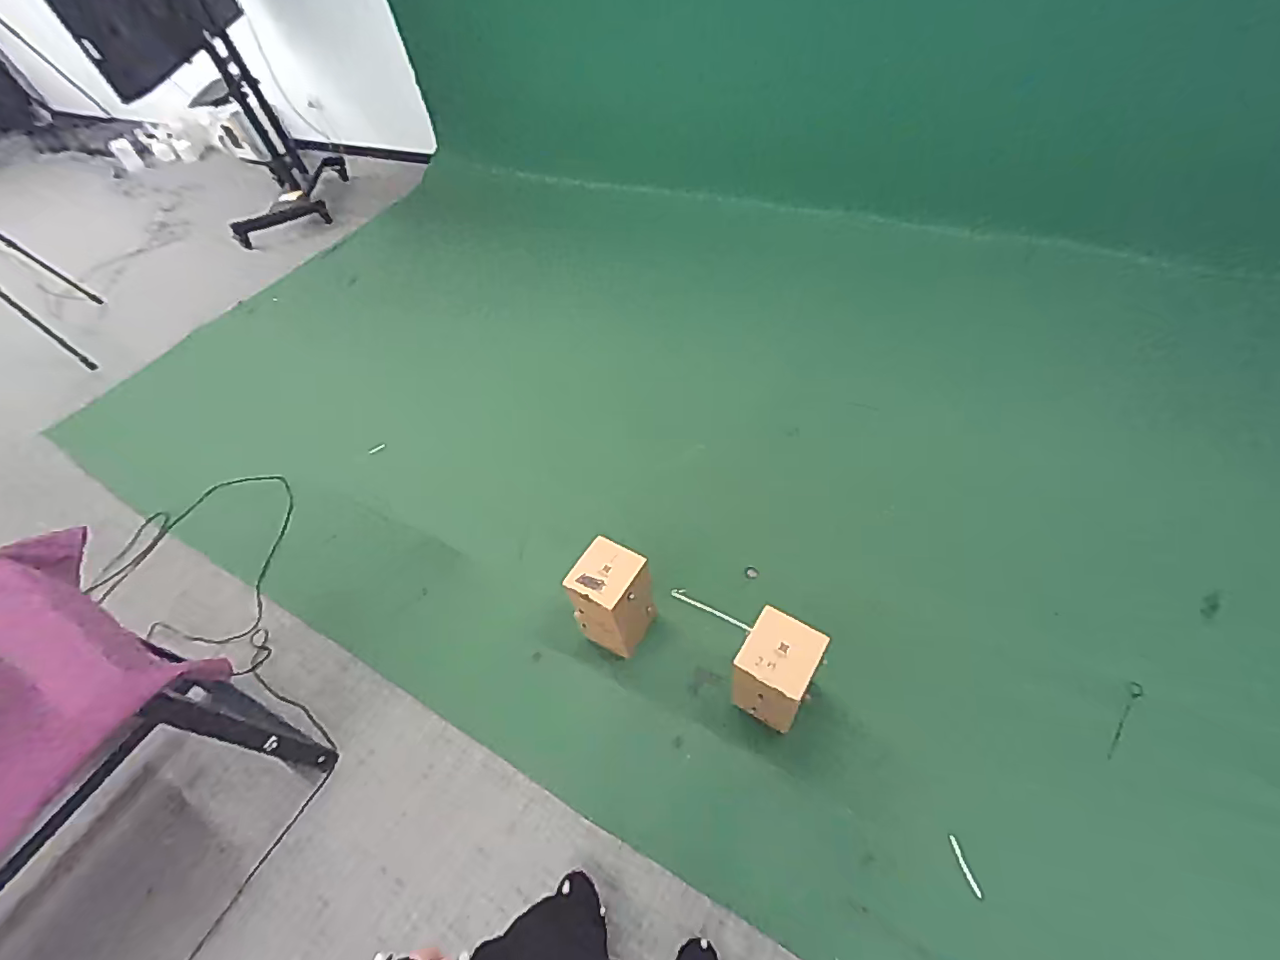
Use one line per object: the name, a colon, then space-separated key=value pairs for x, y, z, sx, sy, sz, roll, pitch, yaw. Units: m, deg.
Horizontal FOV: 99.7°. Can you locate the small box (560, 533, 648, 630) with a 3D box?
small box: x=-0.091 y=0.287 z=1.503 sx=0.168 sy=0.176 sz=0.179 roll=24 pitch=58 yaw=25

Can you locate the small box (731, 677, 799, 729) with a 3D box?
small box: x=0.352 y=0.535 z=1.455 sx=0.168 sy=0.176 sz=0.179 roll=25 pitch=61 yaw=24

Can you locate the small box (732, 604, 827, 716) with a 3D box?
small box: x=0.333 y=0.441 z=1.321 sx=0.168 sy=0.176 sz=0.179 roll=26 pitch=61 yaw=25
